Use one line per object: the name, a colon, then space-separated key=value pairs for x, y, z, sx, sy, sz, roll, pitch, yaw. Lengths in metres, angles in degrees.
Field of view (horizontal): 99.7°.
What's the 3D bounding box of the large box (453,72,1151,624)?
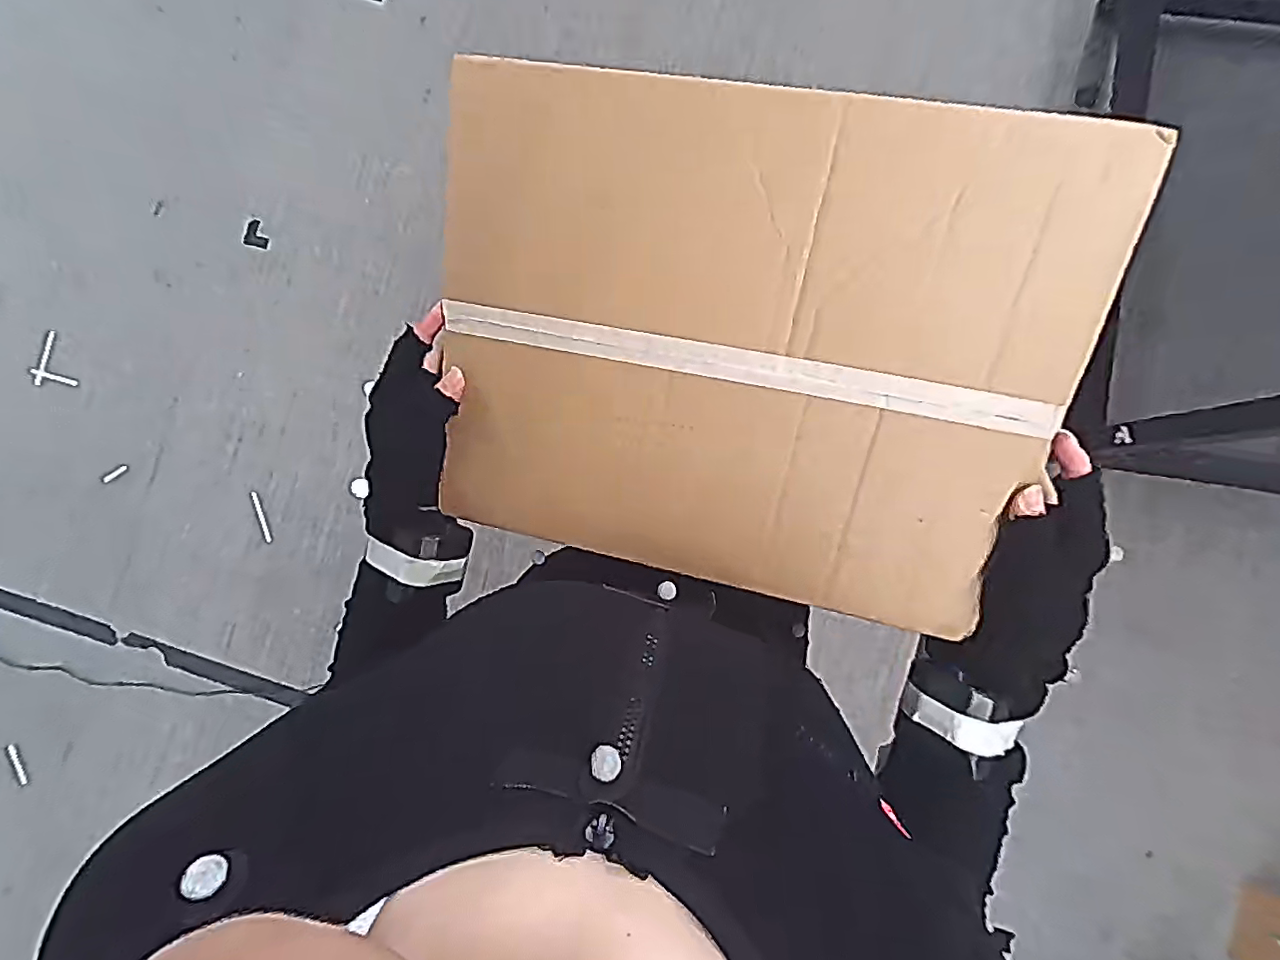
large box: x=0.090 y=-0.121 z=0.504 sx=0.408 sy=0.320 sz=0.320 roll=13 pitch=110 yaw=9
